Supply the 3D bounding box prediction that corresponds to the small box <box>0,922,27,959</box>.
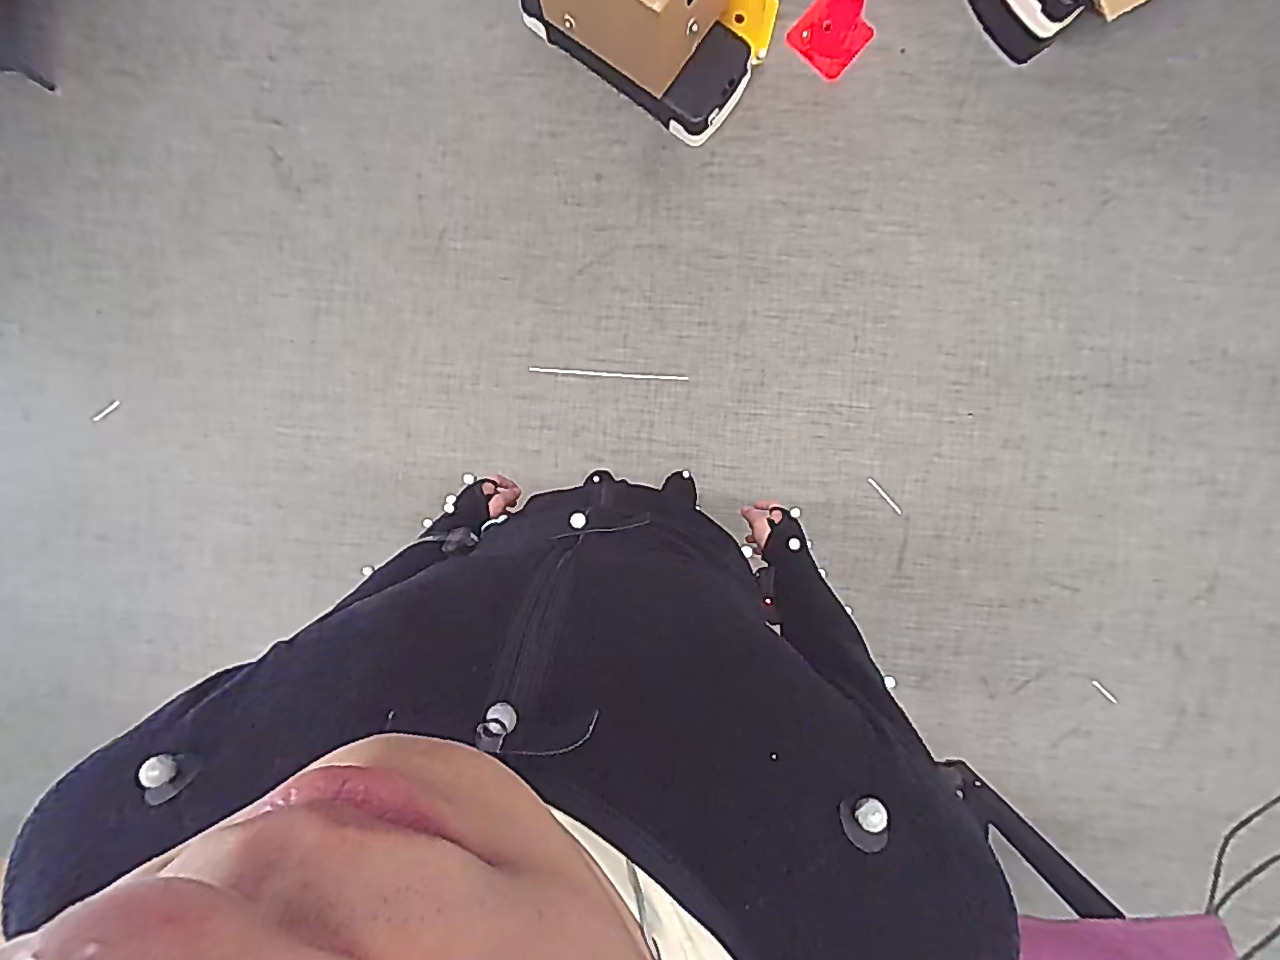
[{"bbox_3d":[-1.545,1.121,1.198,0.179,0.176,0.168,6,90,0],"label":"small box"}]
